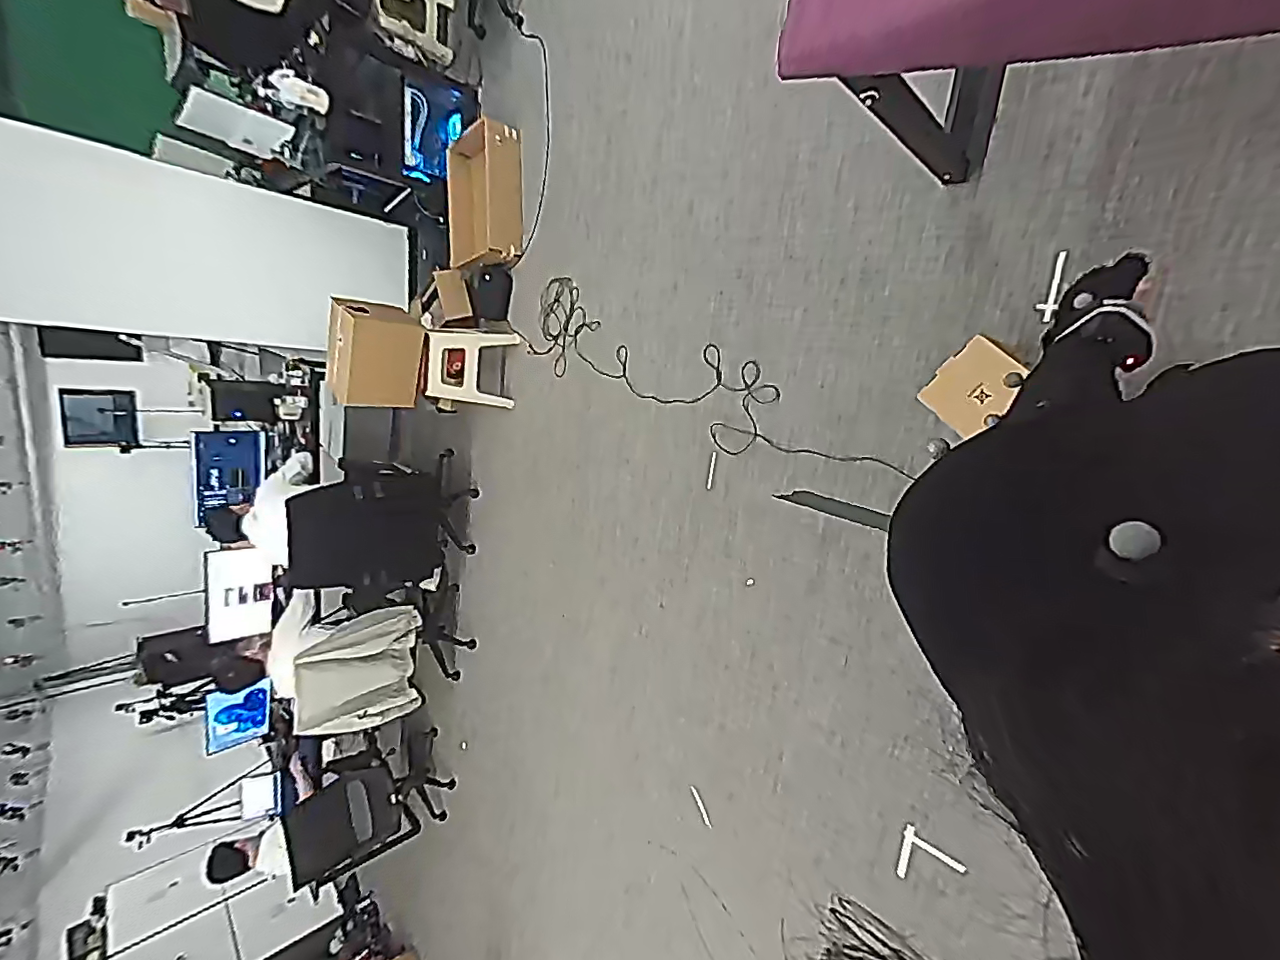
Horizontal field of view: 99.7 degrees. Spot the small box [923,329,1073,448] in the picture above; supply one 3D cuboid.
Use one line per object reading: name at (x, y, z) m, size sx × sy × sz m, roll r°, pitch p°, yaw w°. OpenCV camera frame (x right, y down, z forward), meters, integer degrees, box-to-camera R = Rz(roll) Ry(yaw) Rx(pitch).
small box at (0.728, -0.179, 1.102) m, size 0.179 × 0.176 × 0.168 m, roll 55°, pitch 129°, yaw 27°
